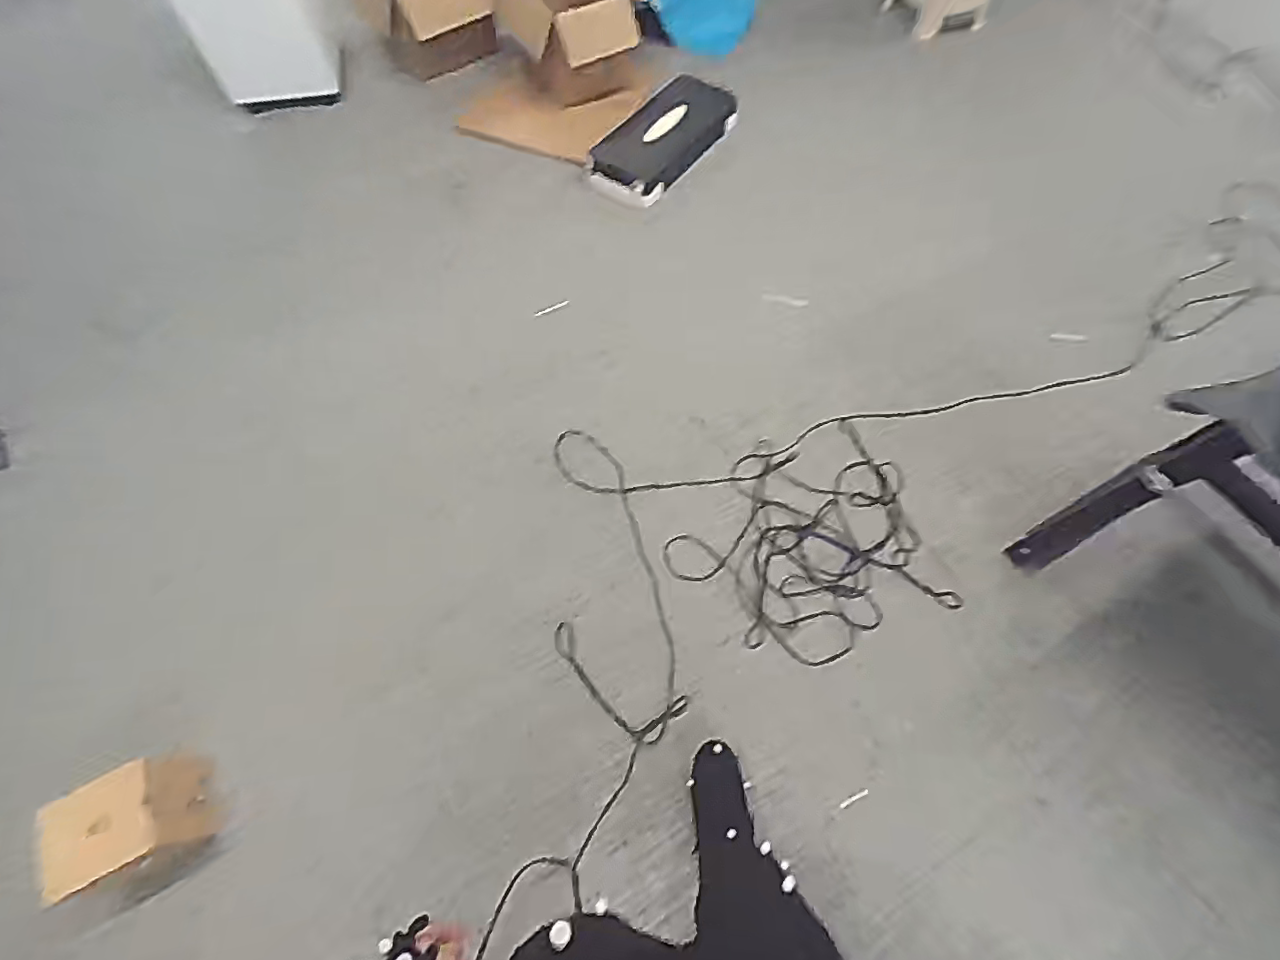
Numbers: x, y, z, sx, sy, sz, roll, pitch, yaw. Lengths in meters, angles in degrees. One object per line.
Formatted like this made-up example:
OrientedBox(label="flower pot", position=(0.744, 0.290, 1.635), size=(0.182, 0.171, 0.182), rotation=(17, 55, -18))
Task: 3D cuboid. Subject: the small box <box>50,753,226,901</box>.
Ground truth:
OrientedBox(label="small box", position=(-0.941, 0.645, 1.025), size=(0.179, 0.176, 0.168), rotation=(-27, 67, -14))
